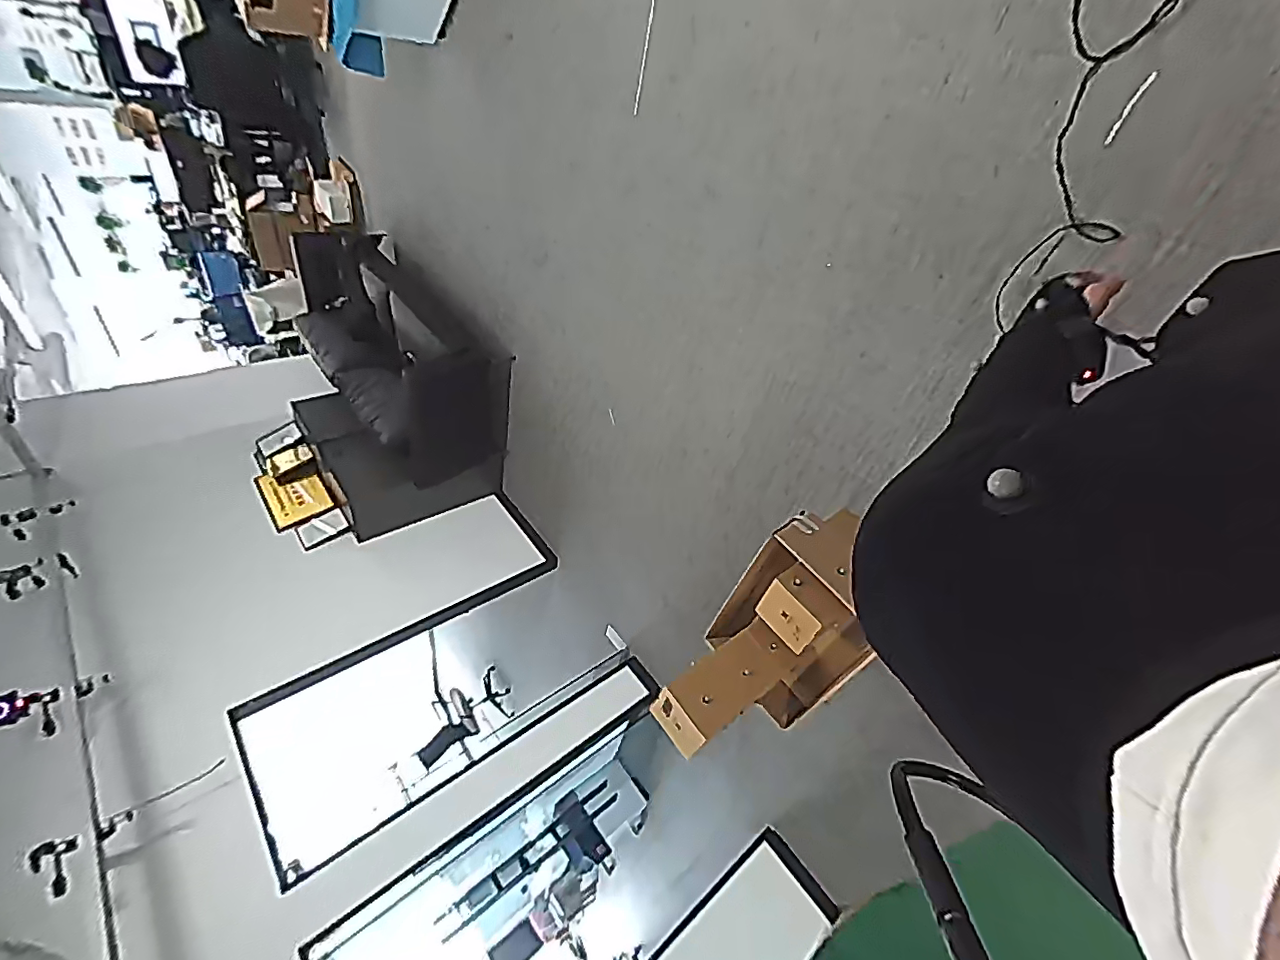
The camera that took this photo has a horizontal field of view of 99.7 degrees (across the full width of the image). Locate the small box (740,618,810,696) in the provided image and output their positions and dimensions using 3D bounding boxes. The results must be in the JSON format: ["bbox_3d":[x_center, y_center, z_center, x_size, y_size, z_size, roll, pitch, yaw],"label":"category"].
[{"bbox_3d":[0.405,0.546,1.723,0.179,0.176,0.168,49,140,25],"label":"small box"}]

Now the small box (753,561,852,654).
[{"bbox_3d":[0.460,0.352,1.538,0.179,0.176,0.168,45,140,27],"label":"small box"}]

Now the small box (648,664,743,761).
[{"bbox_3d":[0.157,0.649,1.533,0.179,0.176,0.168,47,139,25],"label":"small box"}]

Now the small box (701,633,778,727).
[{"bbox_3d":[0.281,0.598,1.630,0.179,0.176,0.168,47,138,24],"label":"small box"}]
